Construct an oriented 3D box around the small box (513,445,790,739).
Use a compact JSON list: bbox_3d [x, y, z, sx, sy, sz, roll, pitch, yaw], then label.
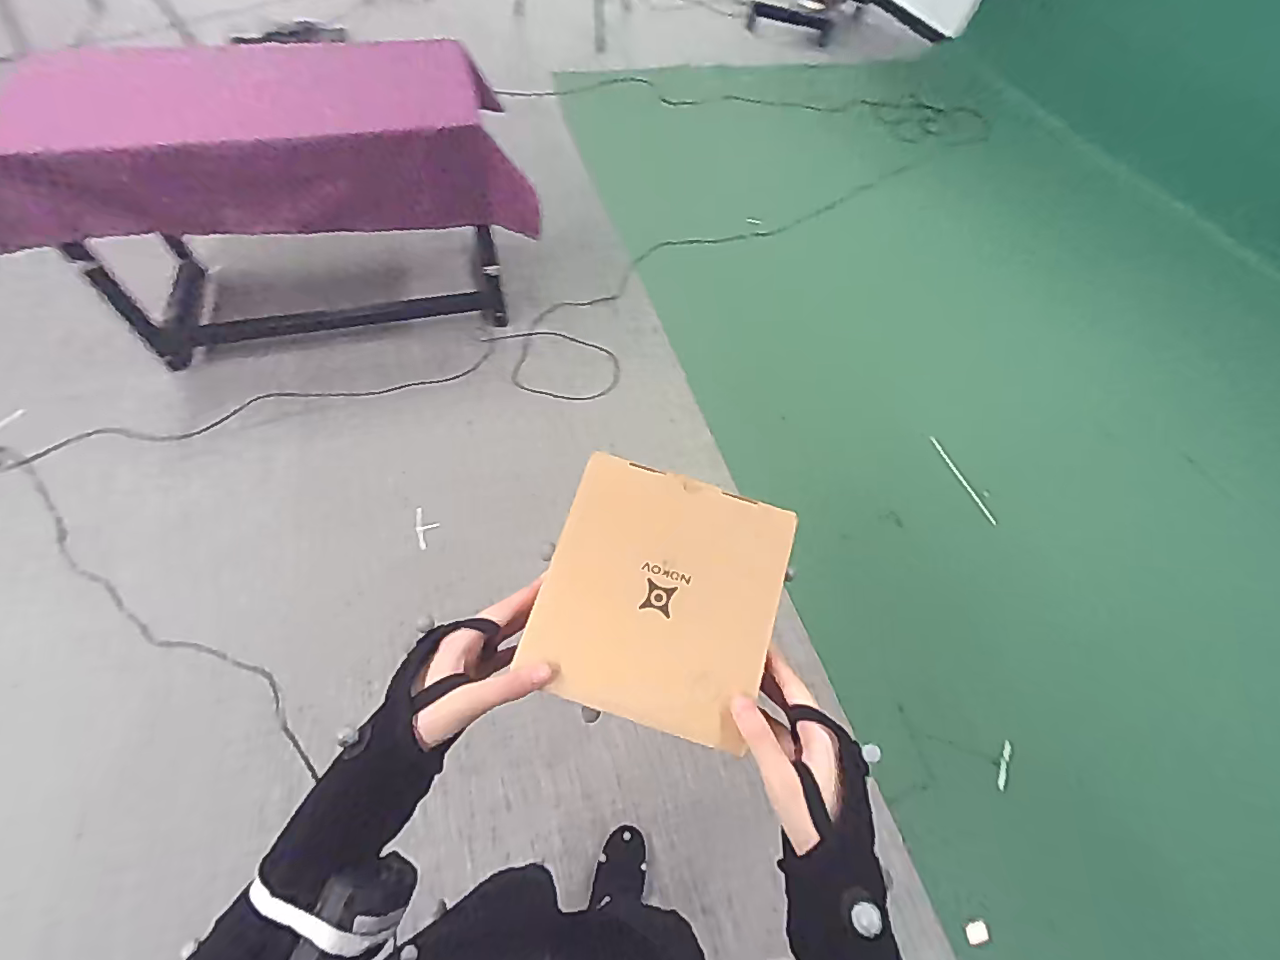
[{"bbox_3d":[0.011,0.098,0.464,0.168,0.176,0.179,16,70,3],"label":"small box"}]
